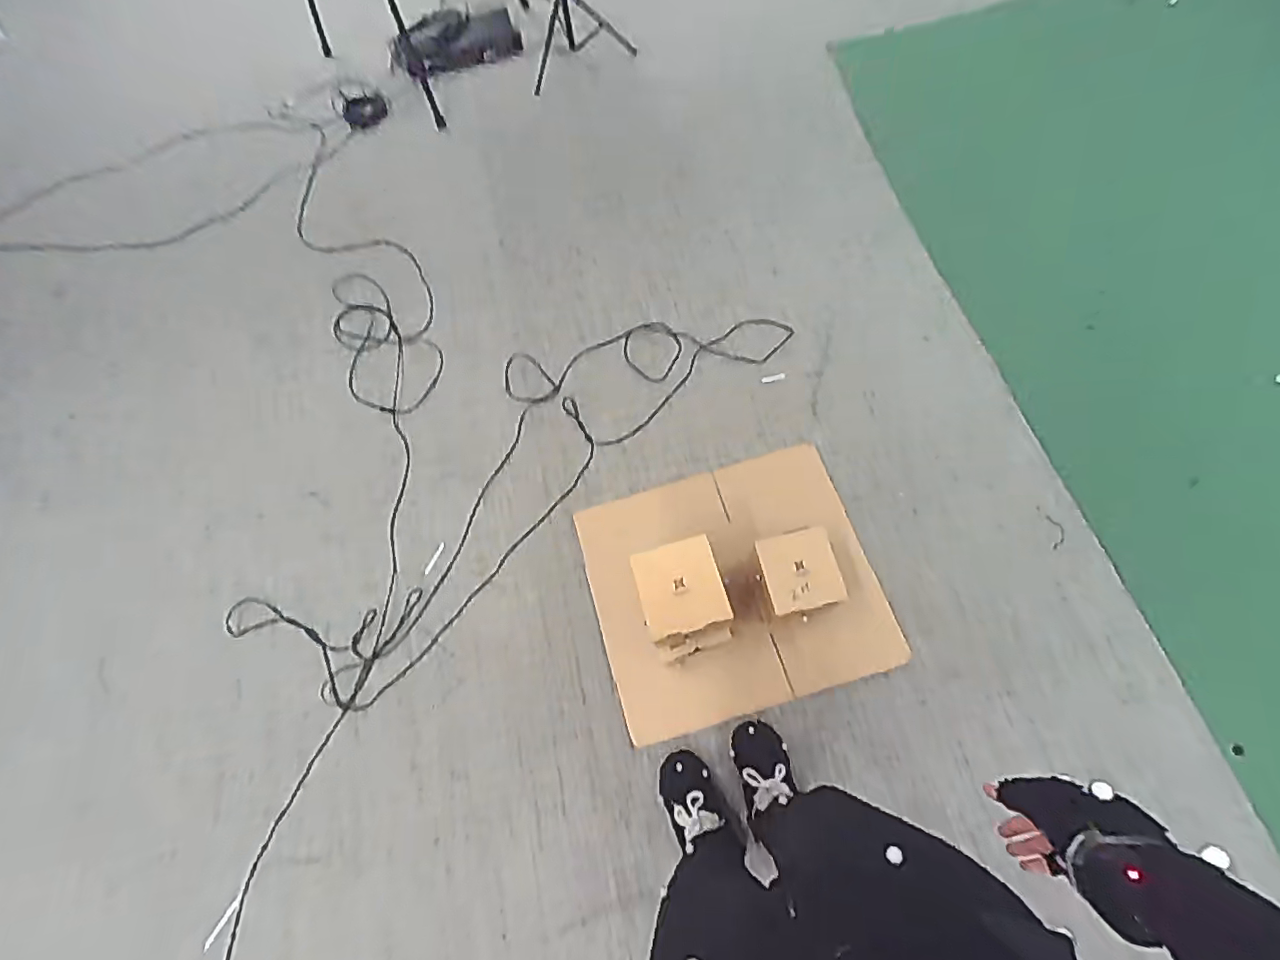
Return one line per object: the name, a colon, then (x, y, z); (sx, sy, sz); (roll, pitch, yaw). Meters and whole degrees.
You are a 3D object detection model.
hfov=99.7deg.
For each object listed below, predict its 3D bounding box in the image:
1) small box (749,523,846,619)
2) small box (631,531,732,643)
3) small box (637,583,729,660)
small box: (0.365, 0.223, 1.293); (0.168, 0.176, 0.179); (-13, 69, 1)
small box: (0.084, 0.231, 1.139); (0.168, 0.176, 0.179); (-16, 68, -1)
small box: (0.102, 0.316, 1.280); (0.168, 0.176, 0.179); (-19, 68, -2)
